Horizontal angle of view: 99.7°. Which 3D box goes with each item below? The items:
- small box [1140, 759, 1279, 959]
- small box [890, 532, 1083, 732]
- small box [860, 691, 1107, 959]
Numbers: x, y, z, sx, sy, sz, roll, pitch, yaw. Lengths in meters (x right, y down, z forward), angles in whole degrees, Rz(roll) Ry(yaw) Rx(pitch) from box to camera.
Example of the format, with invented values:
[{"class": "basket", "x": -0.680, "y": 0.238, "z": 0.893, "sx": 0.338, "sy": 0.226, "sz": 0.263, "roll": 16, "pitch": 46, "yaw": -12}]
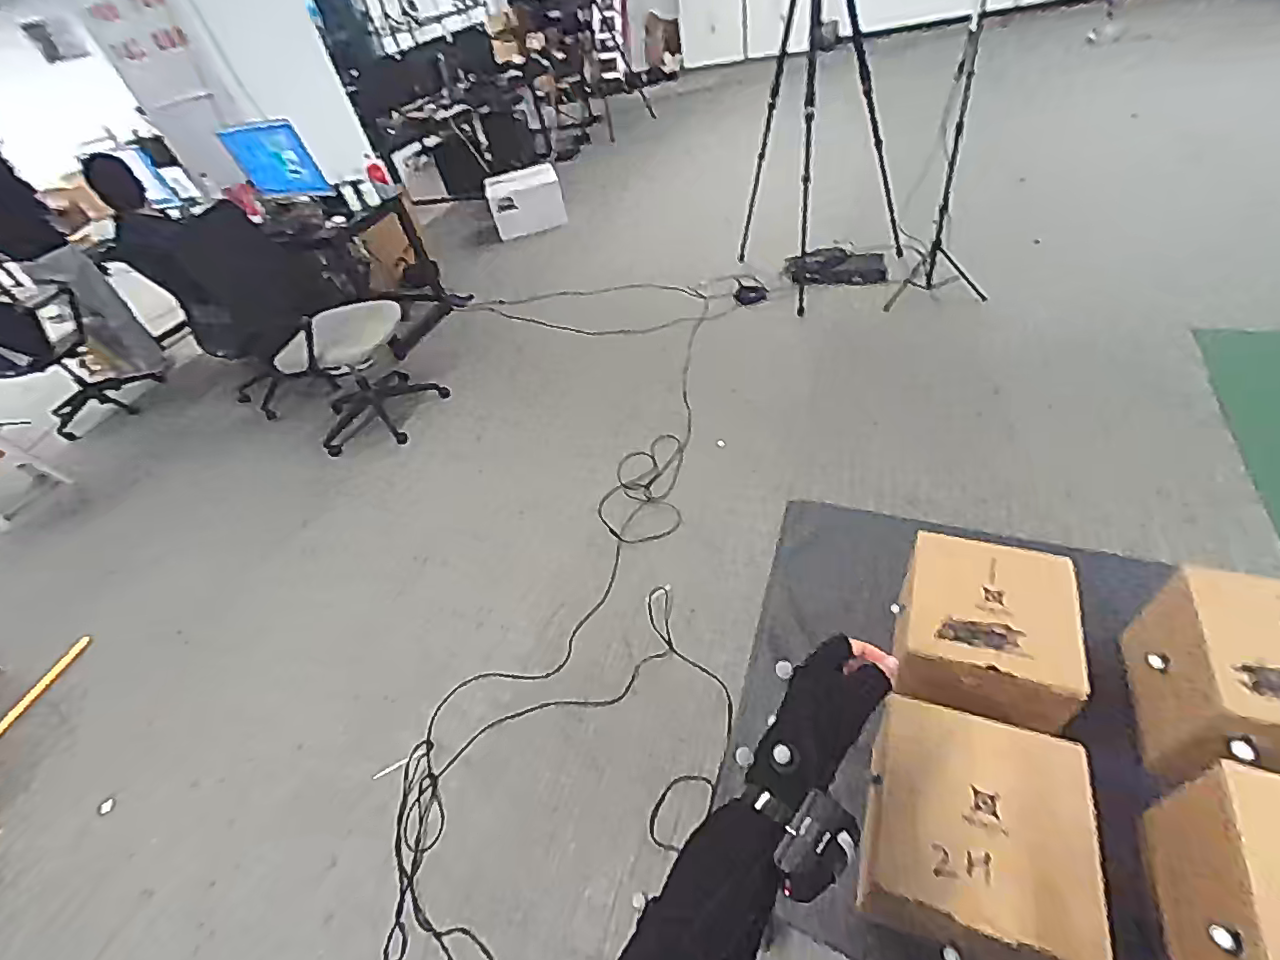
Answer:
[{"class": "small box", "x": 0.564, "y": 0.378, "z": 0.451, "sx": 0.168, "sy": 0.176, "sz": 0.179, "roll": 11, "pitch": 49, "yaw": 24}, {"class": "small box", "x": 0.417, "y": 0.197, "z": 0.673, "sx": 0.168, "sy": 0.176, "sz": 0.179, "roll": 11, "pitch": 49, "yaw": 24}, {"class": "small box", "x": 0.321, "y": 0.349, "z": 0.540, "sx": 0.168, "sy": 0.176, "sz": 0.179, "roll": 9, "pitch": 49, "yaw": 23}]
